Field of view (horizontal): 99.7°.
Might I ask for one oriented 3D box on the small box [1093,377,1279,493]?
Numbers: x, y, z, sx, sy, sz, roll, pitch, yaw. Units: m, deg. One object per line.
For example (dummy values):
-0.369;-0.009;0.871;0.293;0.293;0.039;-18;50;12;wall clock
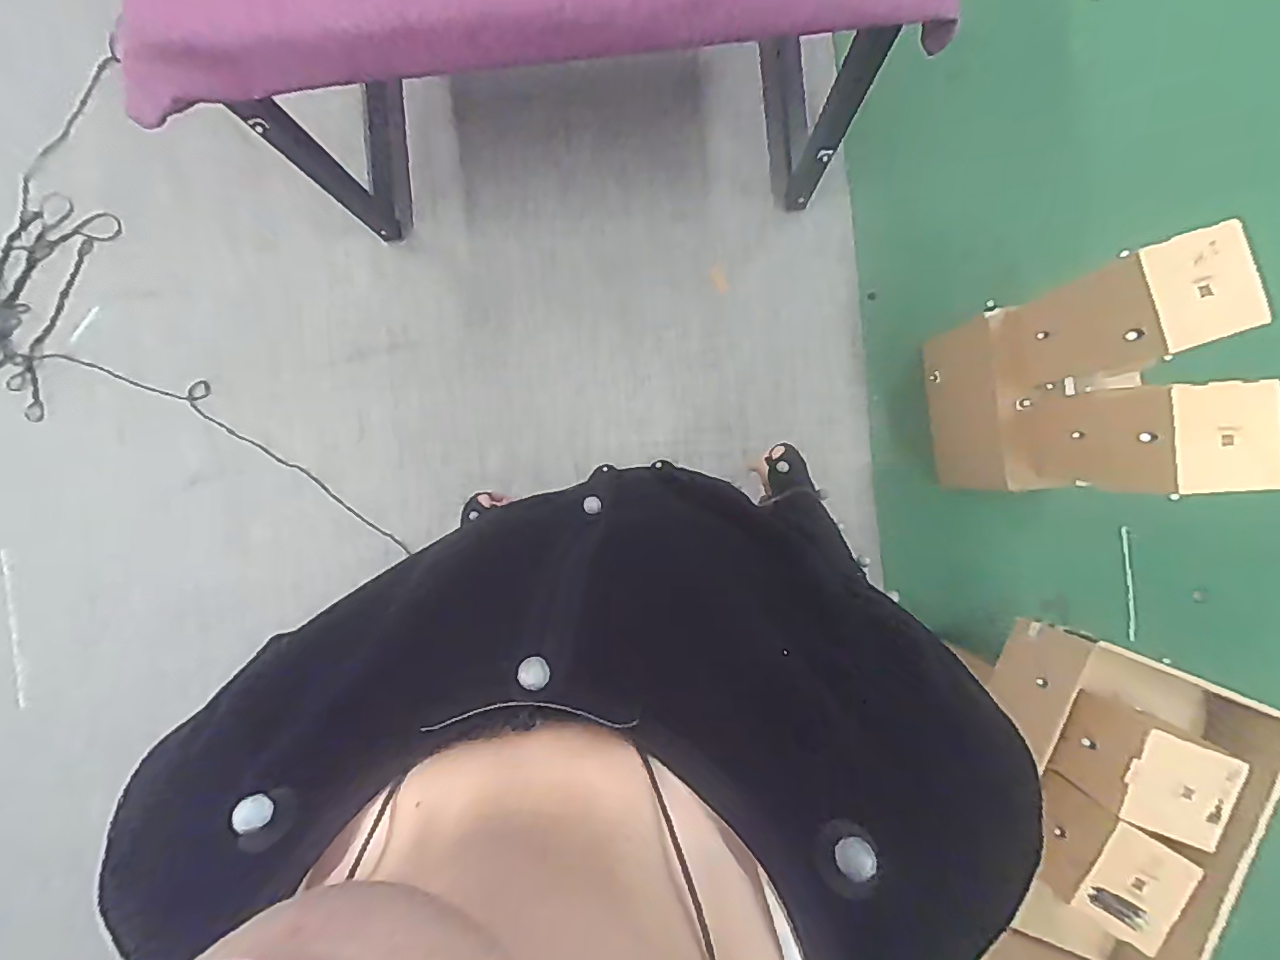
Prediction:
0.924;-0.071;0.923;0.168;0.176;0.179;-3;89;3;small box
